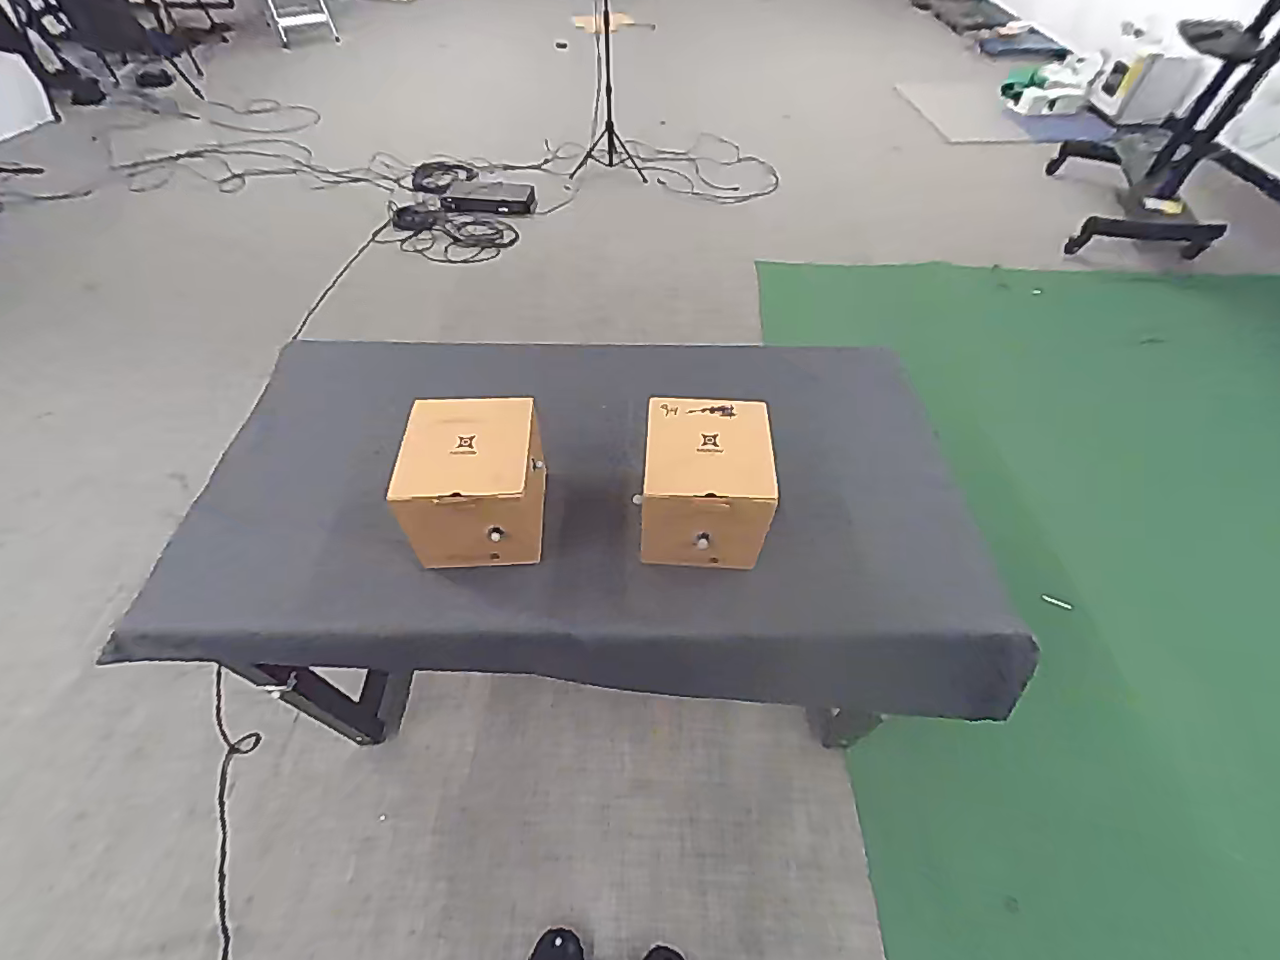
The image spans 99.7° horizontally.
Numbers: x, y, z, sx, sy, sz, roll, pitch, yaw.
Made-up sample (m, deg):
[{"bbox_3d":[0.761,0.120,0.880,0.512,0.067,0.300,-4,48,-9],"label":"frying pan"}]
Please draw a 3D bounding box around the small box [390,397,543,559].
[{"bbox_3d":[-0.231,0.003,0.774,0.168,0.176,0.179,-1,50,-5],"label":"small box"}]

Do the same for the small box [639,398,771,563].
[{"bbox_3d":[0.085,0.004,0.779,0.168,0.176,0.179,3,52,1],"label":"small box"}]
